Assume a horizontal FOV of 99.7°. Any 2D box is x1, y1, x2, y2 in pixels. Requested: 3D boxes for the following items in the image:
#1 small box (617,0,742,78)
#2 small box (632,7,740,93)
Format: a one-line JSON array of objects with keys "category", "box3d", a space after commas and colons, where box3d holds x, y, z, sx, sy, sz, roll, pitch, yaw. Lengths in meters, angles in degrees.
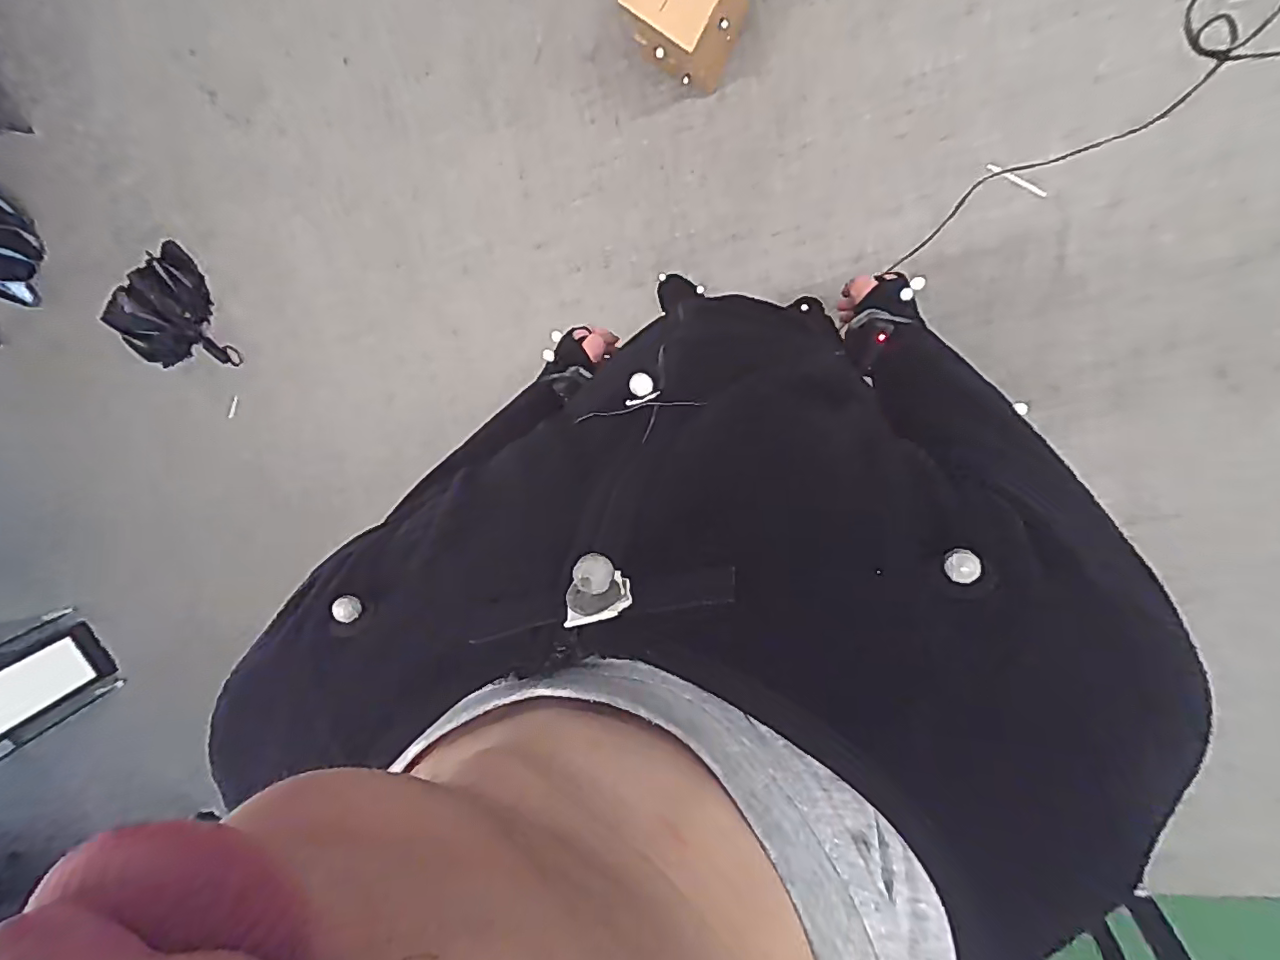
[{"category": "small box", "box3d": [0.085, -0.907, 1.011, 0.168, 0.176, 0.179, 35, 116, -1]}, {"category": "small box", "box3d": [0.107, -0.976, 1.159, 0.168, 0.176, 0.179, 28, 114, 2]}]
